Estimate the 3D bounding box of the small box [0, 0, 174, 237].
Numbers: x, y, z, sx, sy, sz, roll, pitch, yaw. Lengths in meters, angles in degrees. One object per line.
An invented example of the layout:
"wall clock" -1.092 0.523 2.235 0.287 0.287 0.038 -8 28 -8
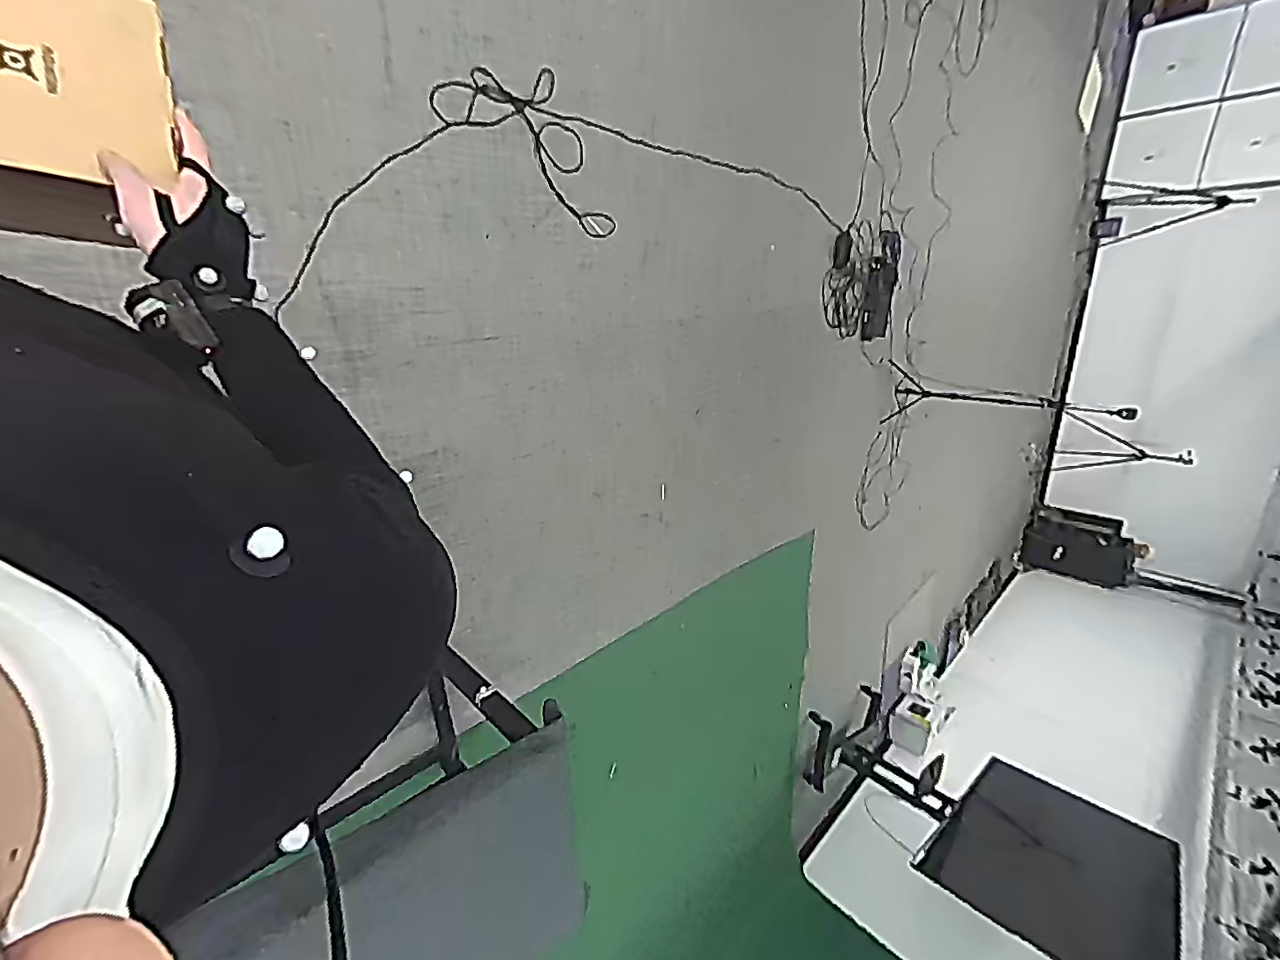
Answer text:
"small box" -0.517 -0.328 0.460 0.179 0.176 0.168 -4 92 -40
